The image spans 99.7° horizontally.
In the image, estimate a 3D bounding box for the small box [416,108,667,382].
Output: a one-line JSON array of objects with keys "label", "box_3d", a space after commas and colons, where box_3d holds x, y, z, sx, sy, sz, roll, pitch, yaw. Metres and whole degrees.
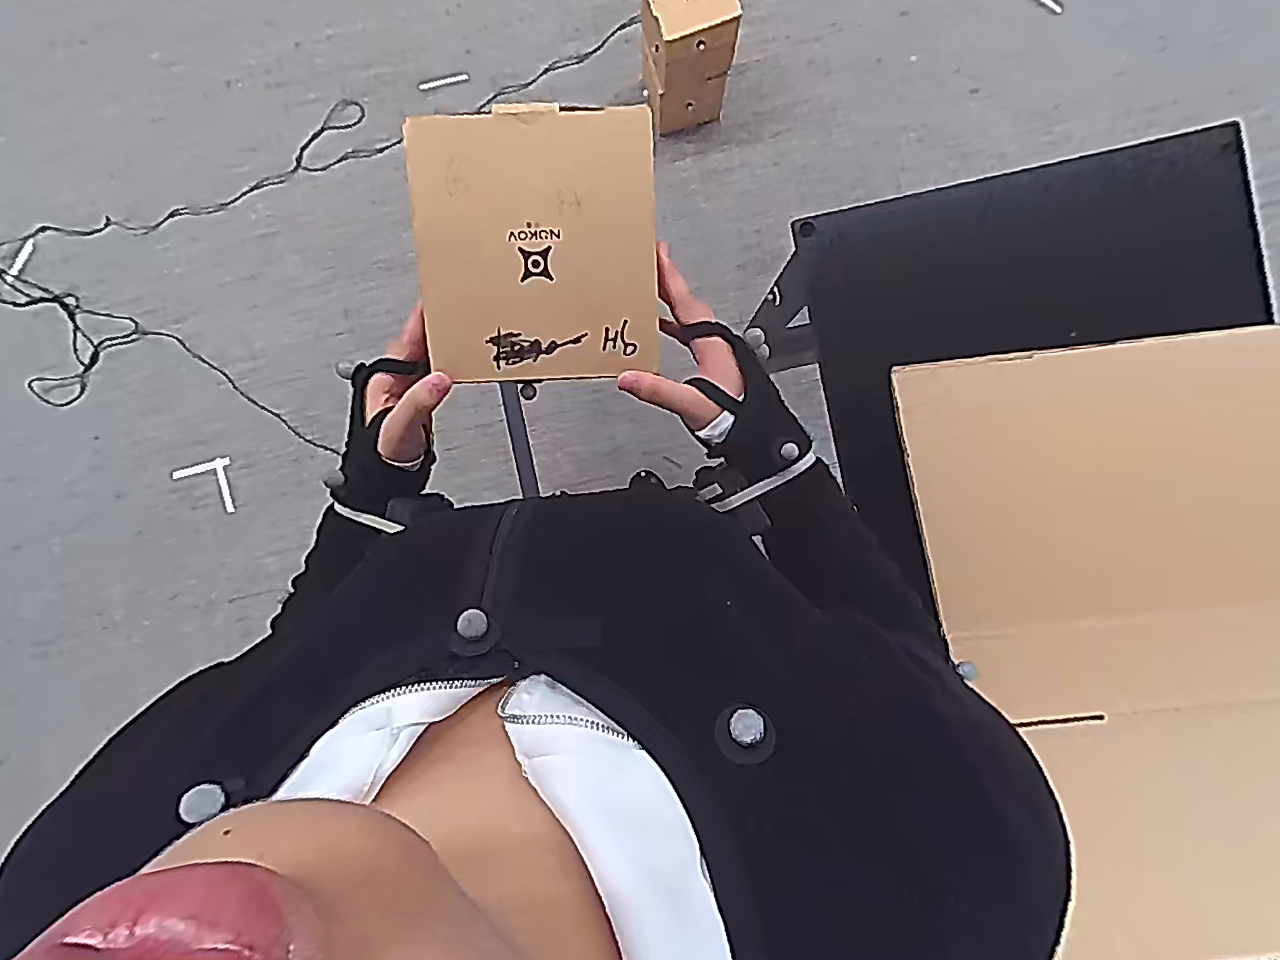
[{"label": "small box", "box_3d": [-0.065, -0.172, 0.450, 0.168, 0.176, 0.179, -2, 102, 1]}]

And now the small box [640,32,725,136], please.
[{"label": "small box", "box_3d": [0.104, -1.029, 1.387, 0.179, 0.176, 0.168, -16, 90, 2]}]

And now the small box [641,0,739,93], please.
[{"label": "small box", "box_3d": [0.106, -1.029, 1.224, 0.179, 0.176, 0.168, -19, 91, 1]}]
